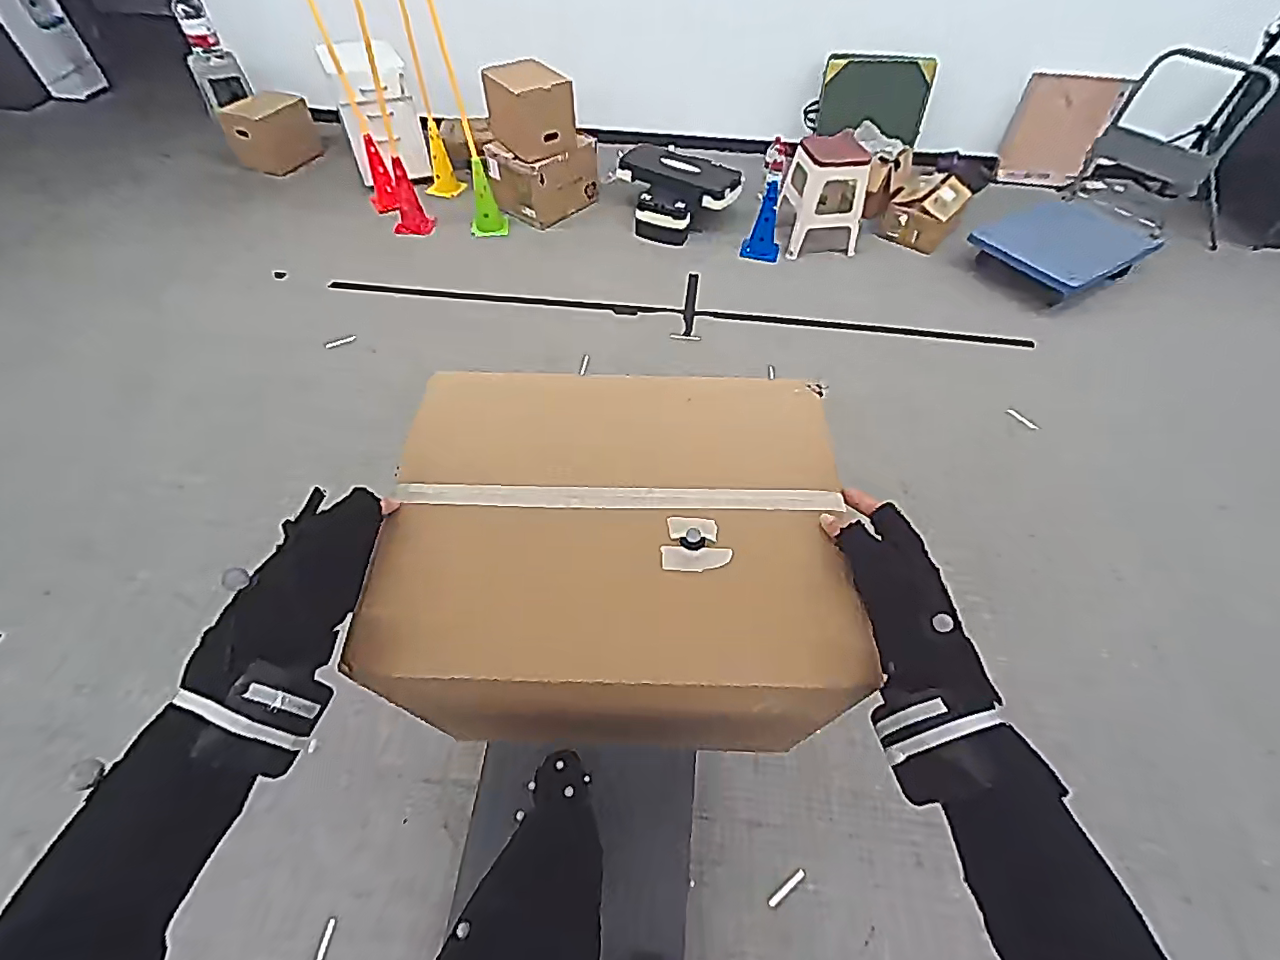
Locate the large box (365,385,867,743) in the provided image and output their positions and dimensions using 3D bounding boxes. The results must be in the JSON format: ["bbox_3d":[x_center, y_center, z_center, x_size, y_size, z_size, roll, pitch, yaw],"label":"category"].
[{"bbox_3d":[-0.019,0.109,0.627,0.408,0.320,0.320,2,56,0],"label":"large box"}]
